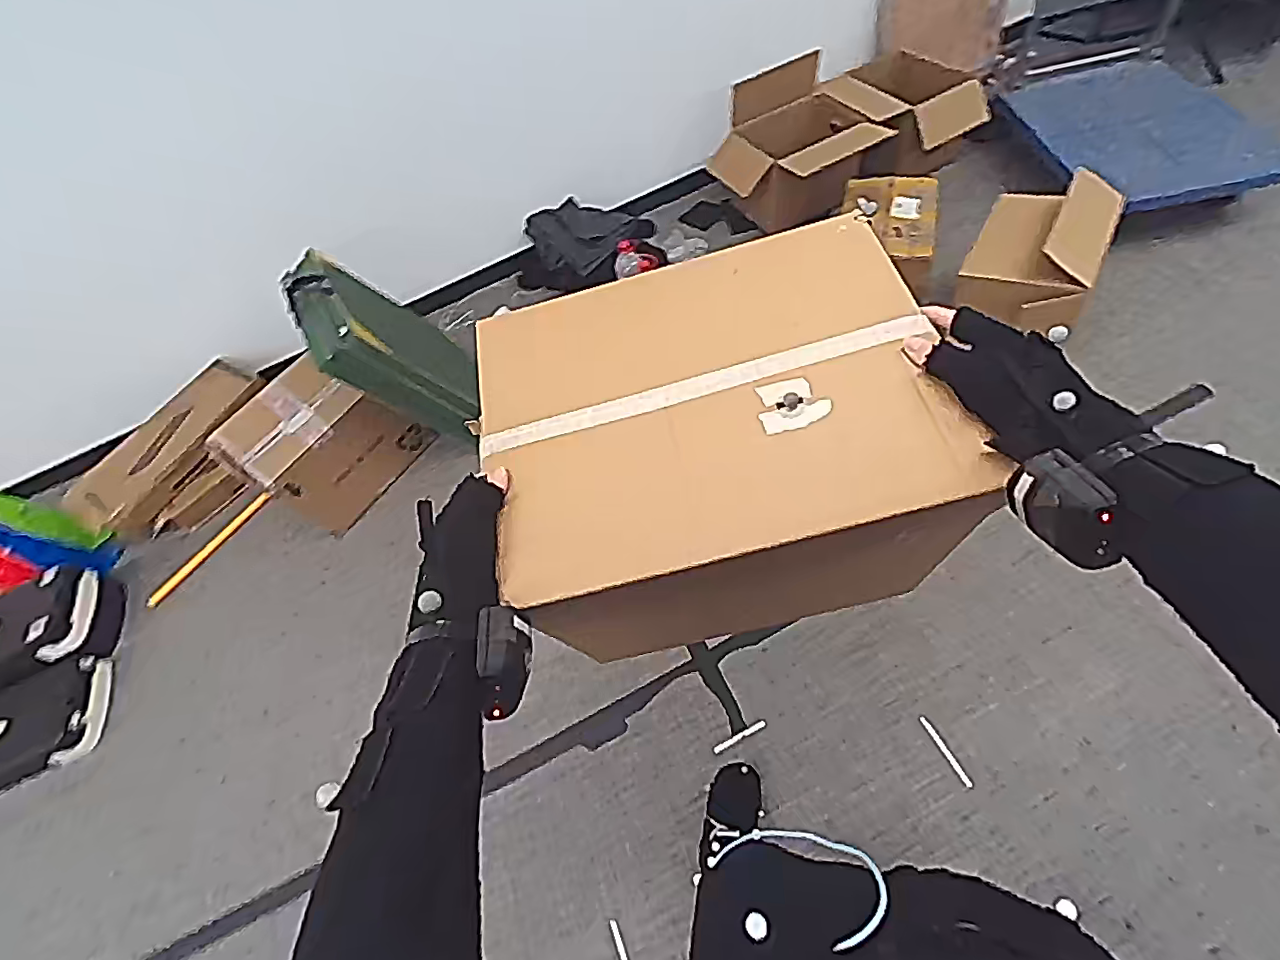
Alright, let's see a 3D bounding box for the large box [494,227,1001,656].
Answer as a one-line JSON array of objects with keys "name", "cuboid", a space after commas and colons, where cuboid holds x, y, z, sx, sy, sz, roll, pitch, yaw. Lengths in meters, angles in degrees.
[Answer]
[{"name": "large box", "cuboid": [0.087, -0.015, 0.629, 0.408, 0.320, 0.320, -14, 63, 4]}]
